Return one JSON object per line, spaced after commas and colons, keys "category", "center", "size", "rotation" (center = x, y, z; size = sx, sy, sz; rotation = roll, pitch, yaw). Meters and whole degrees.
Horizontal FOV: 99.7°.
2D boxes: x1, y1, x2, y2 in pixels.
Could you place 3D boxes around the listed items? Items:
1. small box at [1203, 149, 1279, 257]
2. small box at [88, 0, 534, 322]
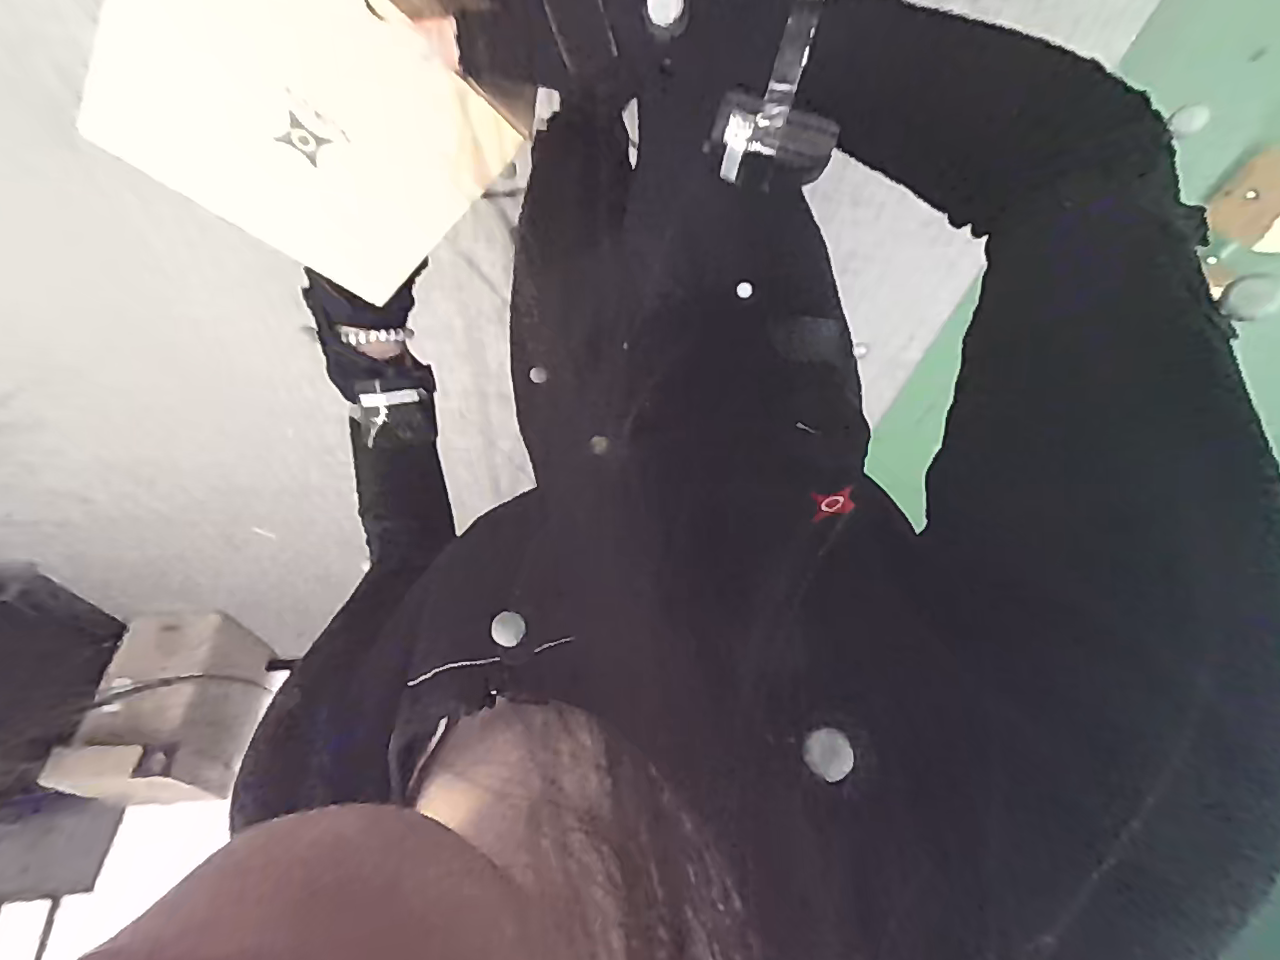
{"category": "small box", "center": [1.475, -0.631, 1.234], "size": [0.179, 0.176, 0.168], "rotation": [1, 143, -6]}
{"category": "small box", "center": [-0.180, -0.243, 0.335], "size": [0.179, 0.176, 0.168], "rotation": [-26, 142, 33]}
